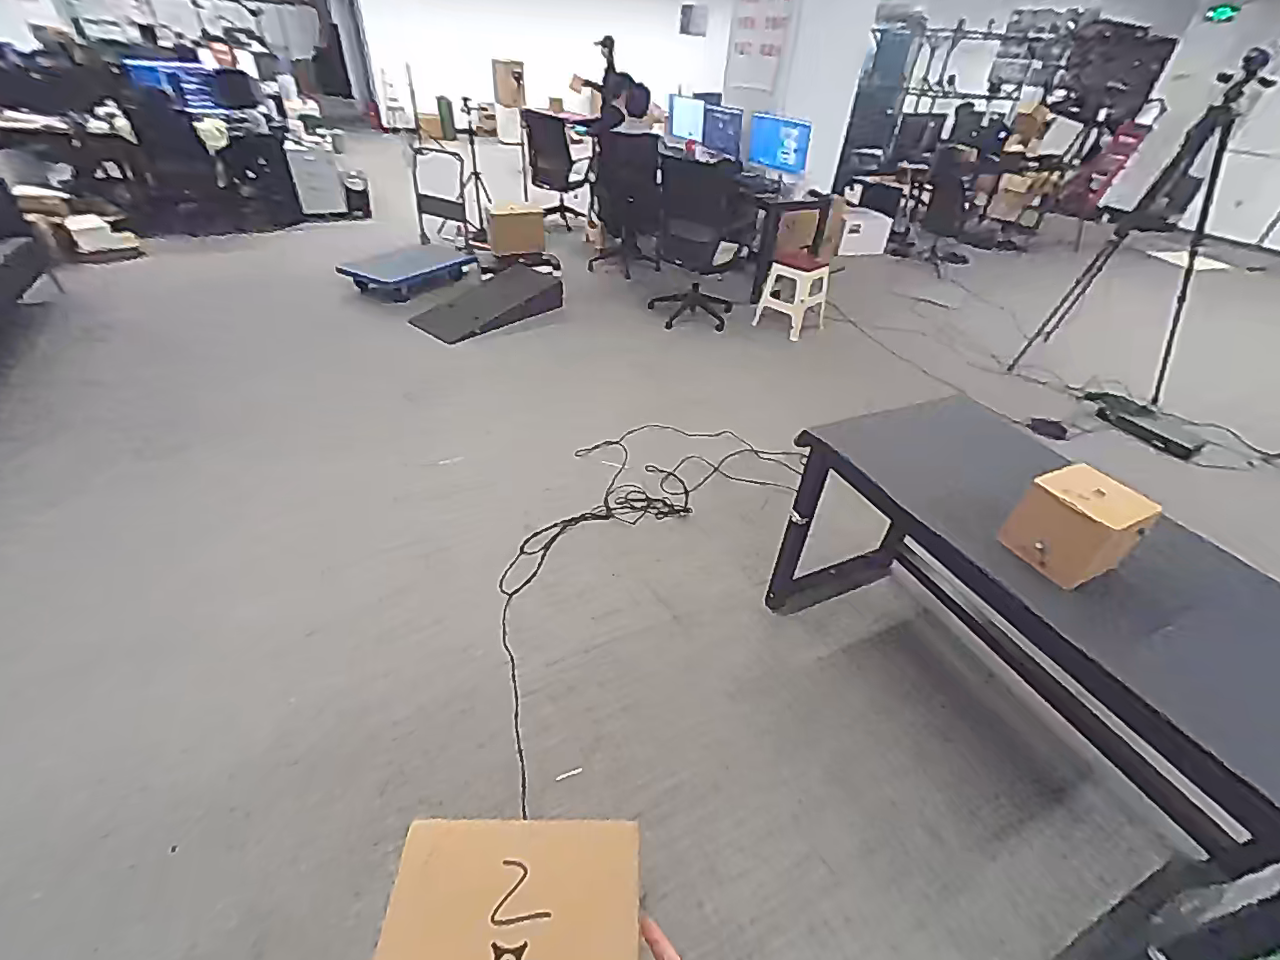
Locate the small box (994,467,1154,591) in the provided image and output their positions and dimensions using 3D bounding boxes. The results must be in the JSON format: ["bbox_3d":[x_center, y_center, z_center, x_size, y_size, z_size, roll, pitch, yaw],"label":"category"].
[{"bbox_3d":[0.891,0.101,1.129,0.179,0.176,0.168,-14,41,-23],"label":"small box"}]
